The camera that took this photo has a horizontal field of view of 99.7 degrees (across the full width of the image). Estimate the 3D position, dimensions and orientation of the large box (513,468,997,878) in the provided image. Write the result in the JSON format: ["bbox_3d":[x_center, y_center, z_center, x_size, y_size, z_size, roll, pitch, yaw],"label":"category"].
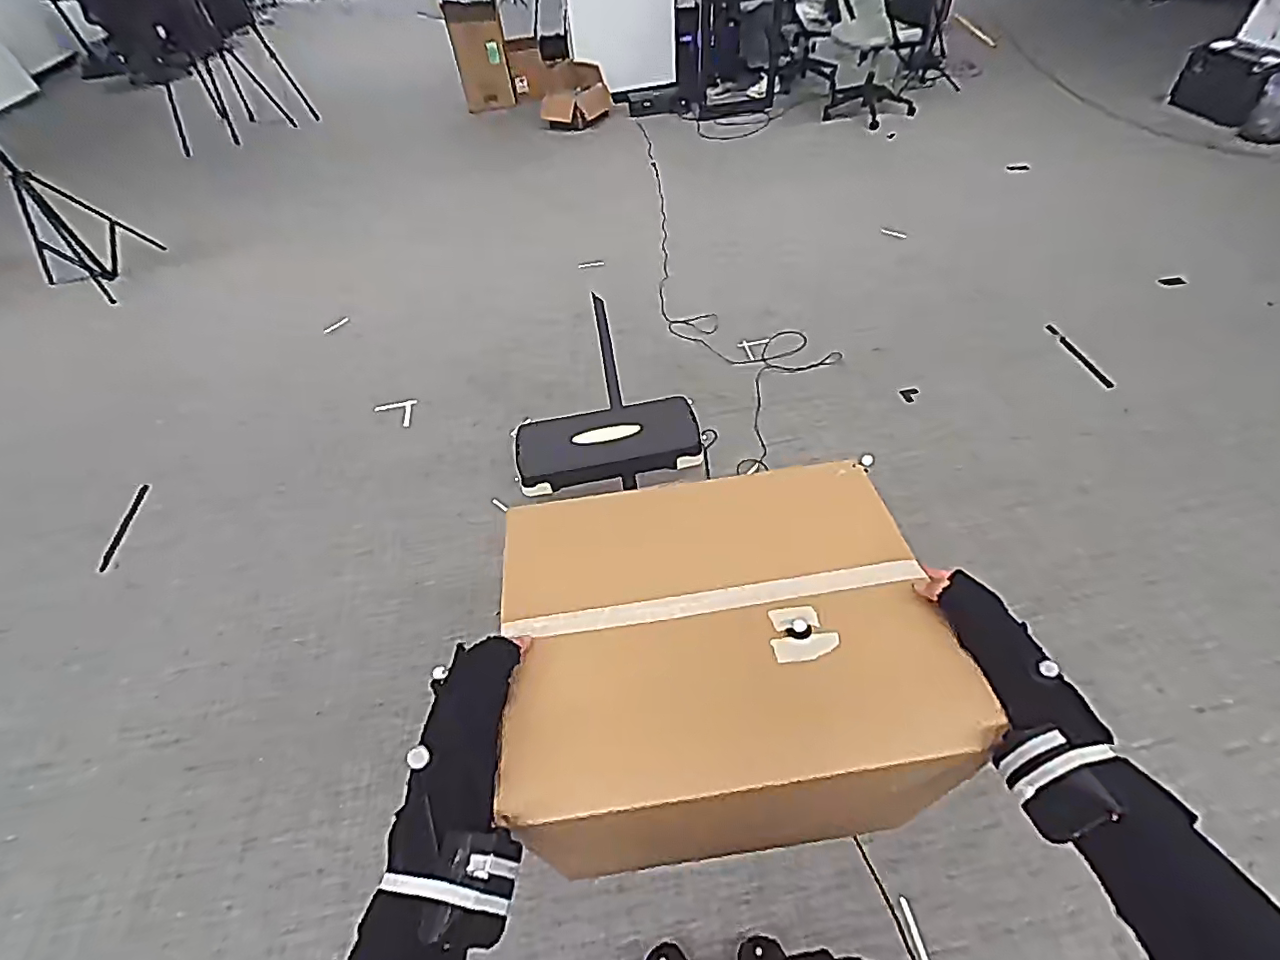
[{"bbox_3d":[0.085,0.225,0.635,0.408,0.320,0.320,-8,47,-2],"label":"large box"}]
